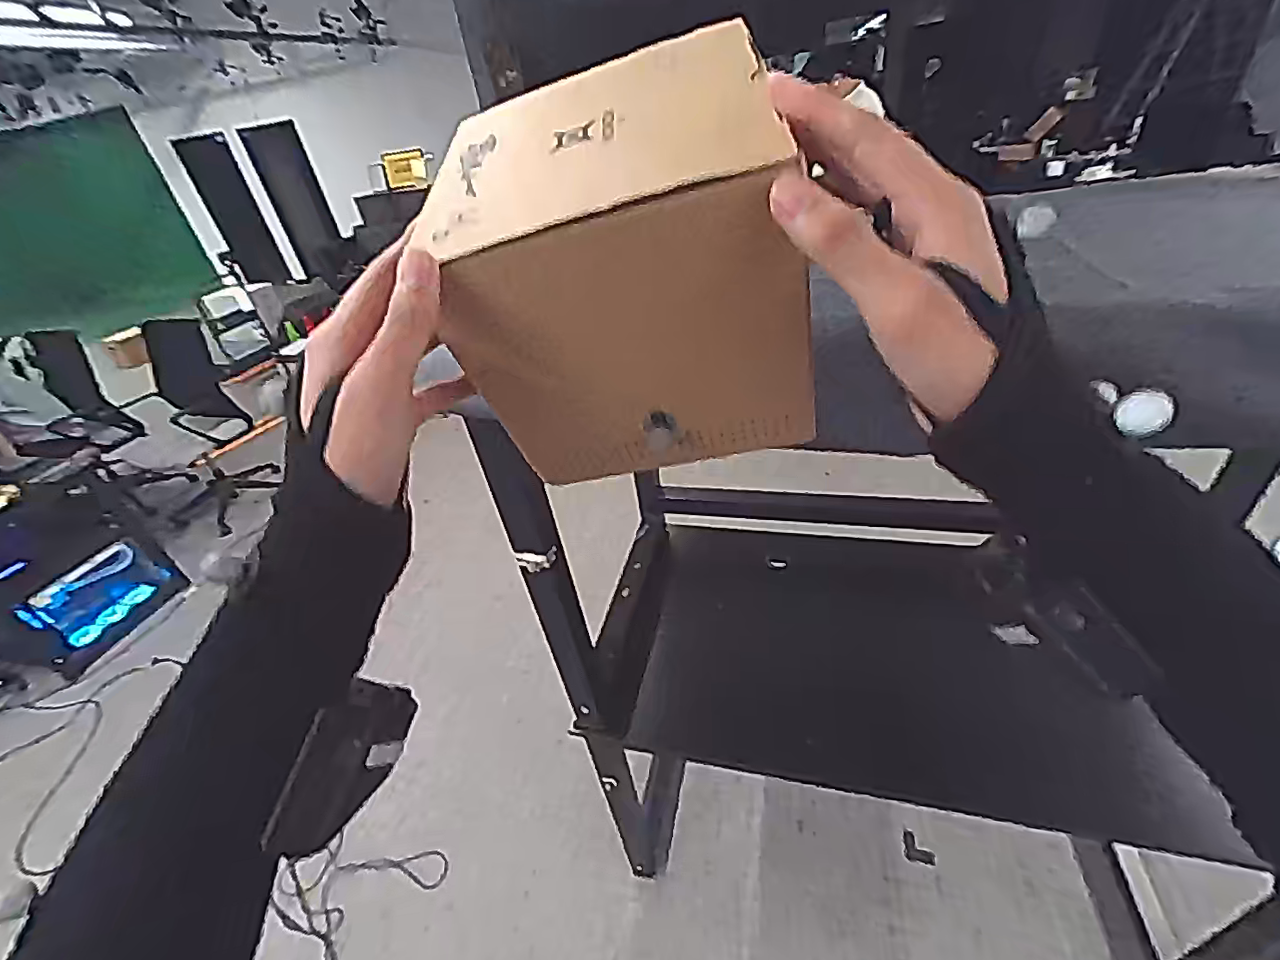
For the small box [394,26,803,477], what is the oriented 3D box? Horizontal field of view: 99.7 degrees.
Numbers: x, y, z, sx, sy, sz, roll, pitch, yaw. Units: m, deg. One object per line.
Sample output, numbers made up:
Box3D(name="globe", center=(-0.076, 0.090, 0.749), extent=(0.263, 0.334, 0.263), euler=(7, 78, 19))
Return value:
Box3D(name="small box", center=(-0.004, -0.122, 0.326), extent=(0.179, 0.176, 0.168), euler=(-10, 52, 12))
